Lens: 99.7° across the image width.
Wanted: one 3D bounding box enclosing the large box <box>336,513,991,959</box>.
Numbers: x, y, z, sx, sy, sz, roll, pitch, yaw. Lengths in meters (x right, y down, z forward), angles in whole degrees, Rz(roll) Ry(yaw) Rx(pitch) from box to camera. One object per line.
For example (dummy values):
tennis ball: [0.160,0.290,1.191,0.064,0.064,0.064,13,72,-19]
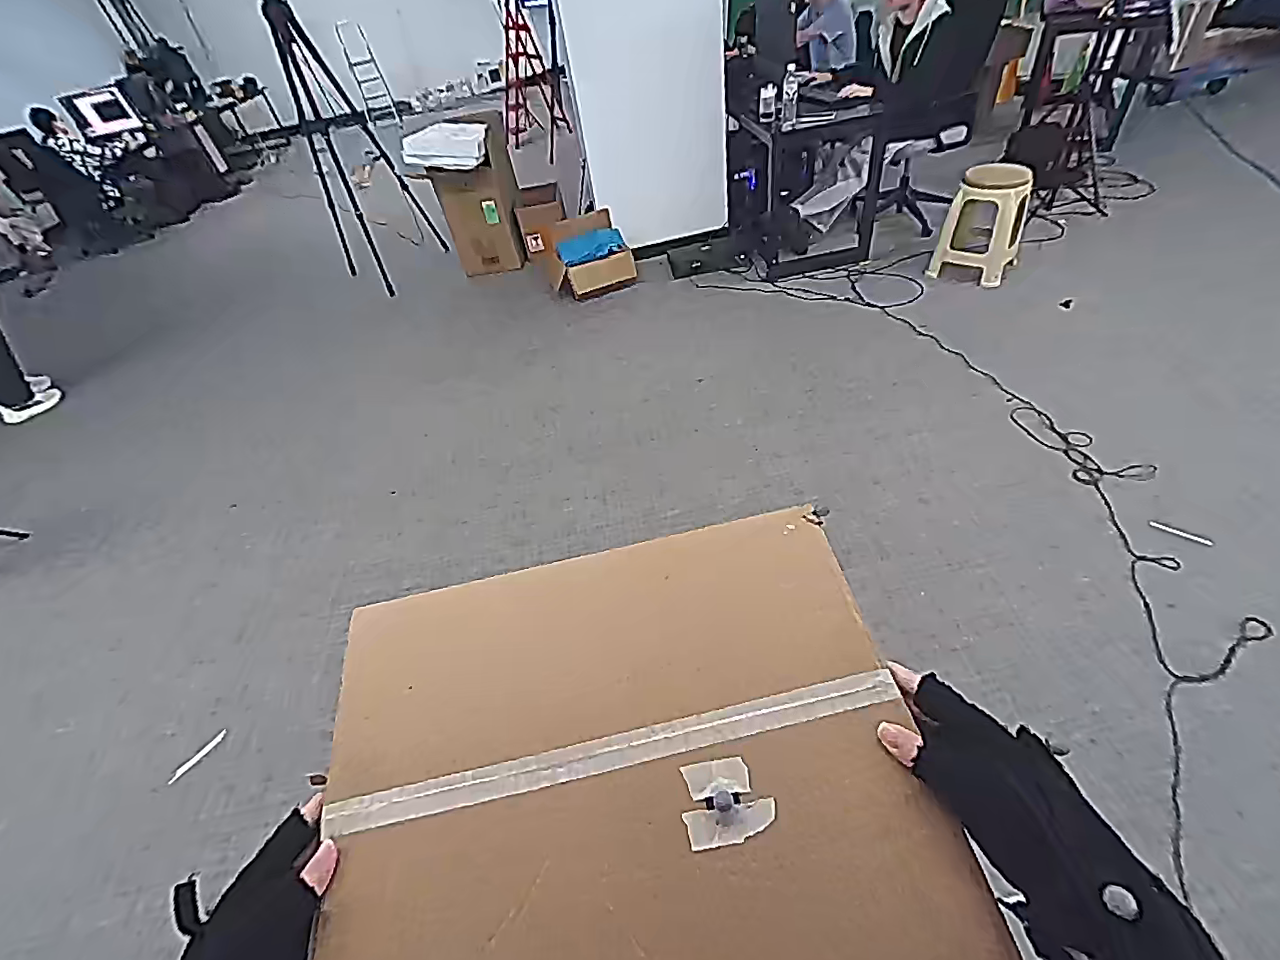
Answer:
large box: [0.000,0.279,0.515,0.408,0.320,0.320,-12,55,-2]
